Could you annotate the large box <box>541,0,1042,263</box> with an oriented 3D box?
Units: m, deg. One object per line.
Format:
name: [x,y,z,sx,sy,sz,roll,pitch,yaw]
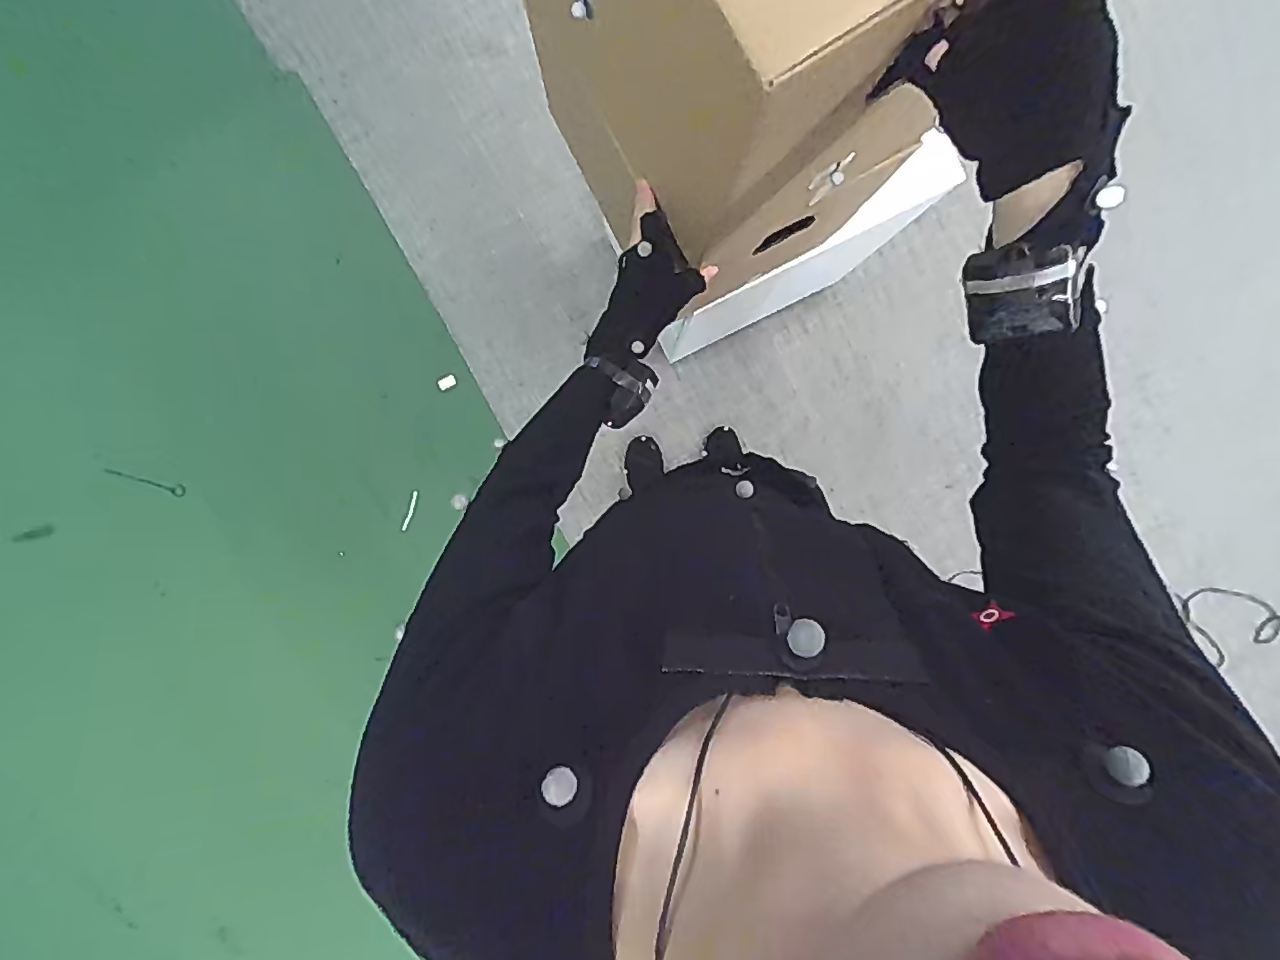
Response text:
large box: [0.090,-0.467,0.427,0.320,0.320,0.408,-31,92,1]
